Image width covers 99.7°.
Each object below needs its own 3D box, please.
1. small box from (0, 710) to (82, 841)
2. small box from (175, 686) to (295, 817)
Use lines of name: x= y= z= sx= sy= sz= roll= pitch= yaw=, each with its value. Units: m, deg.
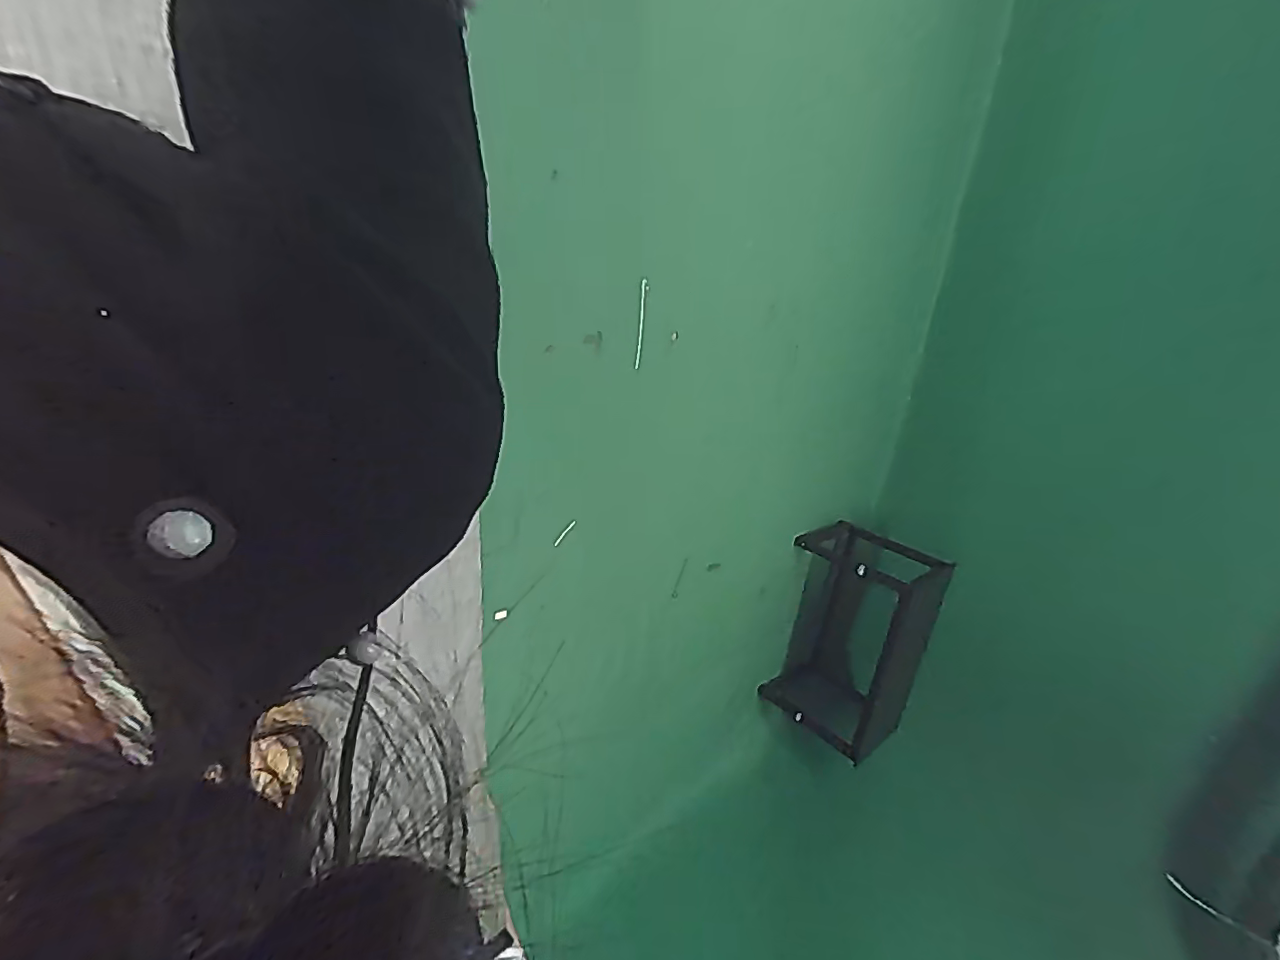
small box: x=-1.306 y=0.616 z=1.135 sx=0.168 sy=0.176 sz=0.179 roll=-9 pitch=116 yaw=-41
small box: x=-0.939 y=0.621 z=1.255 sx=0.168 sy=0.176 sz=0.179 roll=-27 pitch=127 yaw=-33
